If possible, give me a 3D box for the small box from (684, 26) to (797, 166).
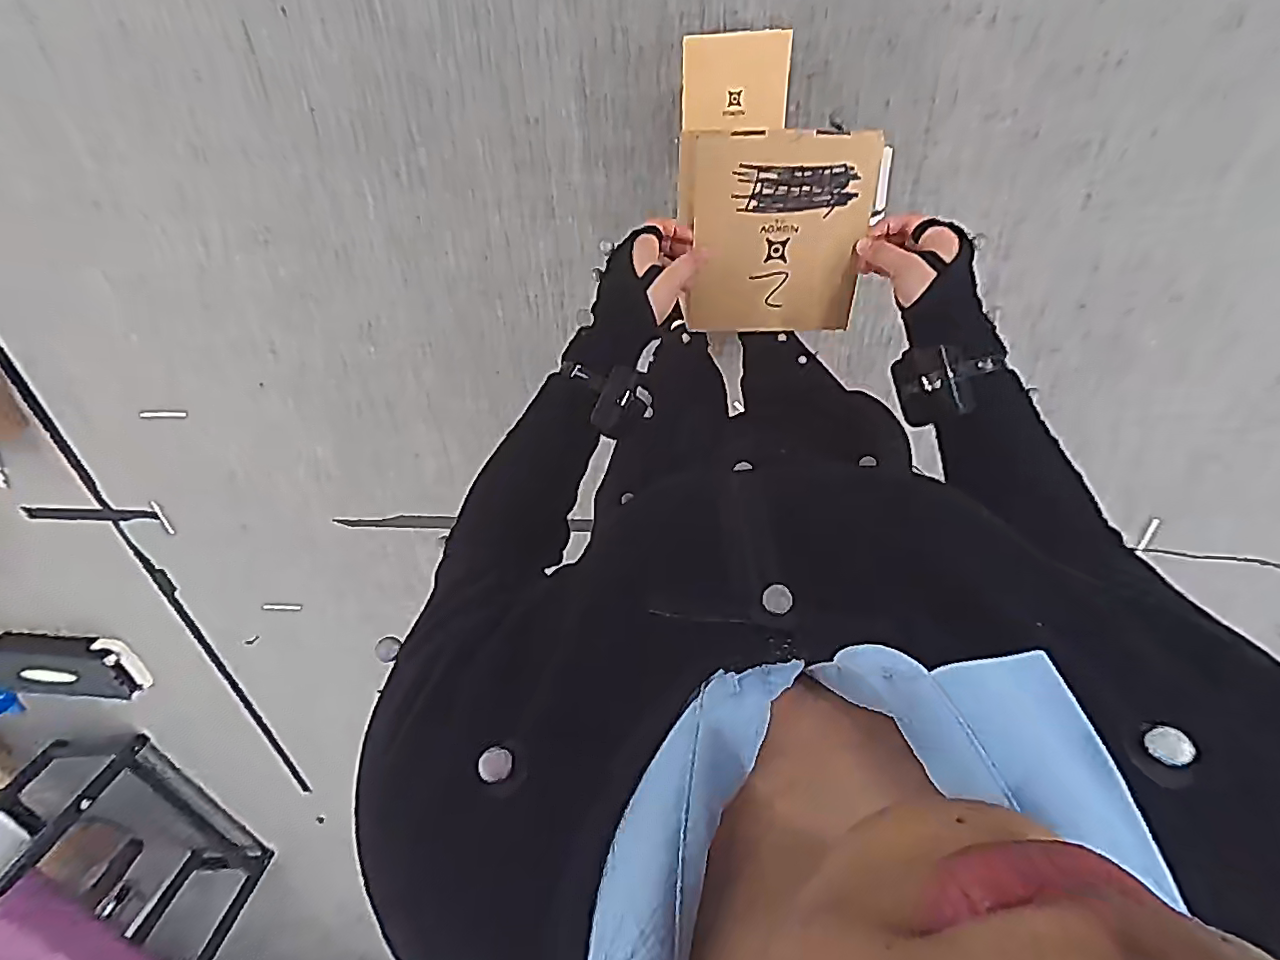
[{"bbox_3d":[0.159,-0.634,0.912,0.168,0.176,0.179,1,122,5],"label":"small box"}]
